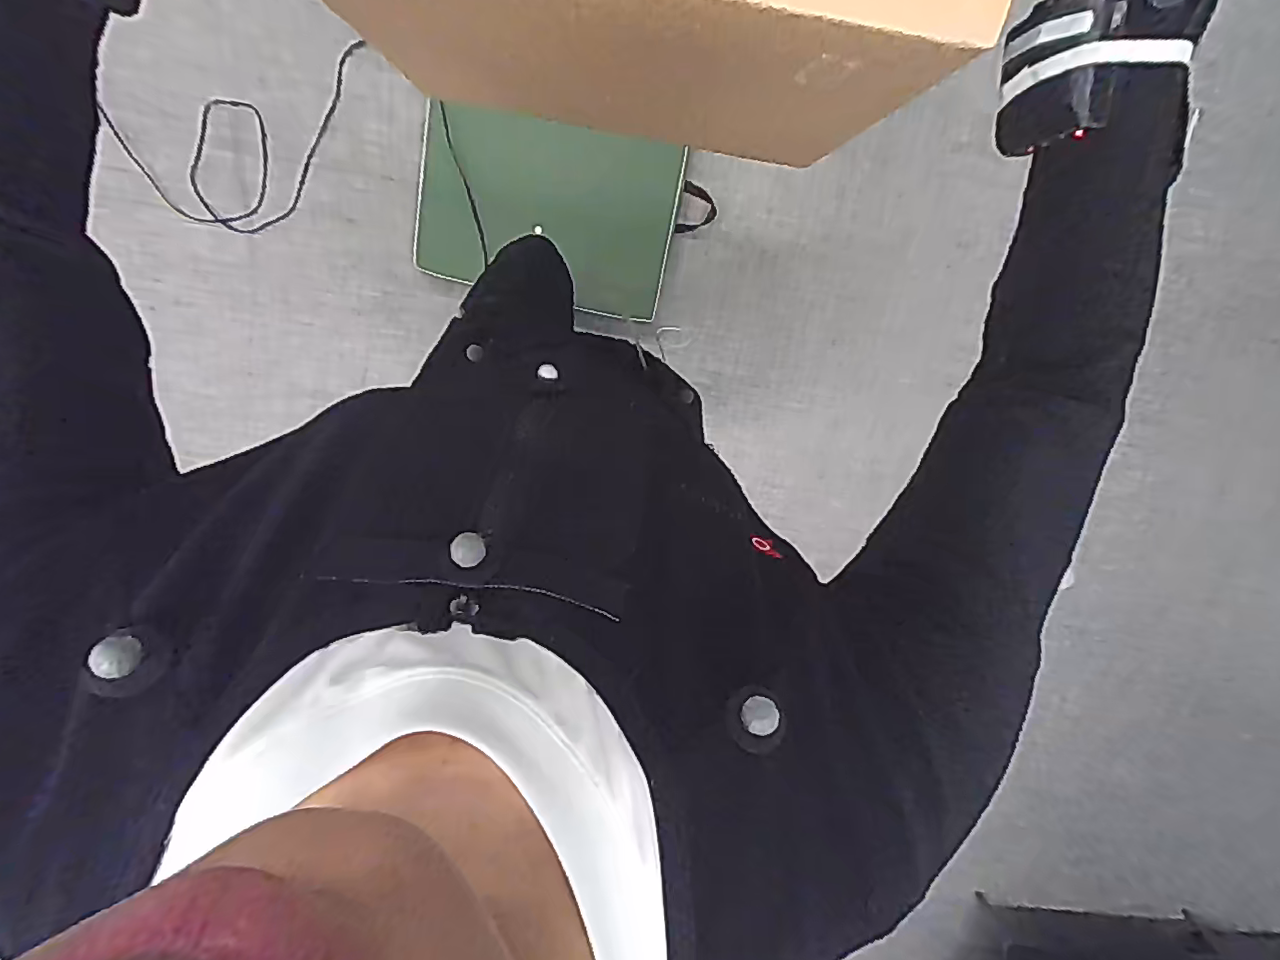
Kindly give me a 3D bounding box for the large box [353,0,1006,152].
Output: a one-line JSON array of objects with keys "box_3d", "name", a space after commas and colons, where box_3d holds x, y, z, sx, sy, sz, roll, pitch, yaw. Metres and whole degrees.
[{"box_3d": [0.012, -0.459, 0.369, 0.408, 0.320, 0.320, 7, 110, -5], "name": "large box"}]
